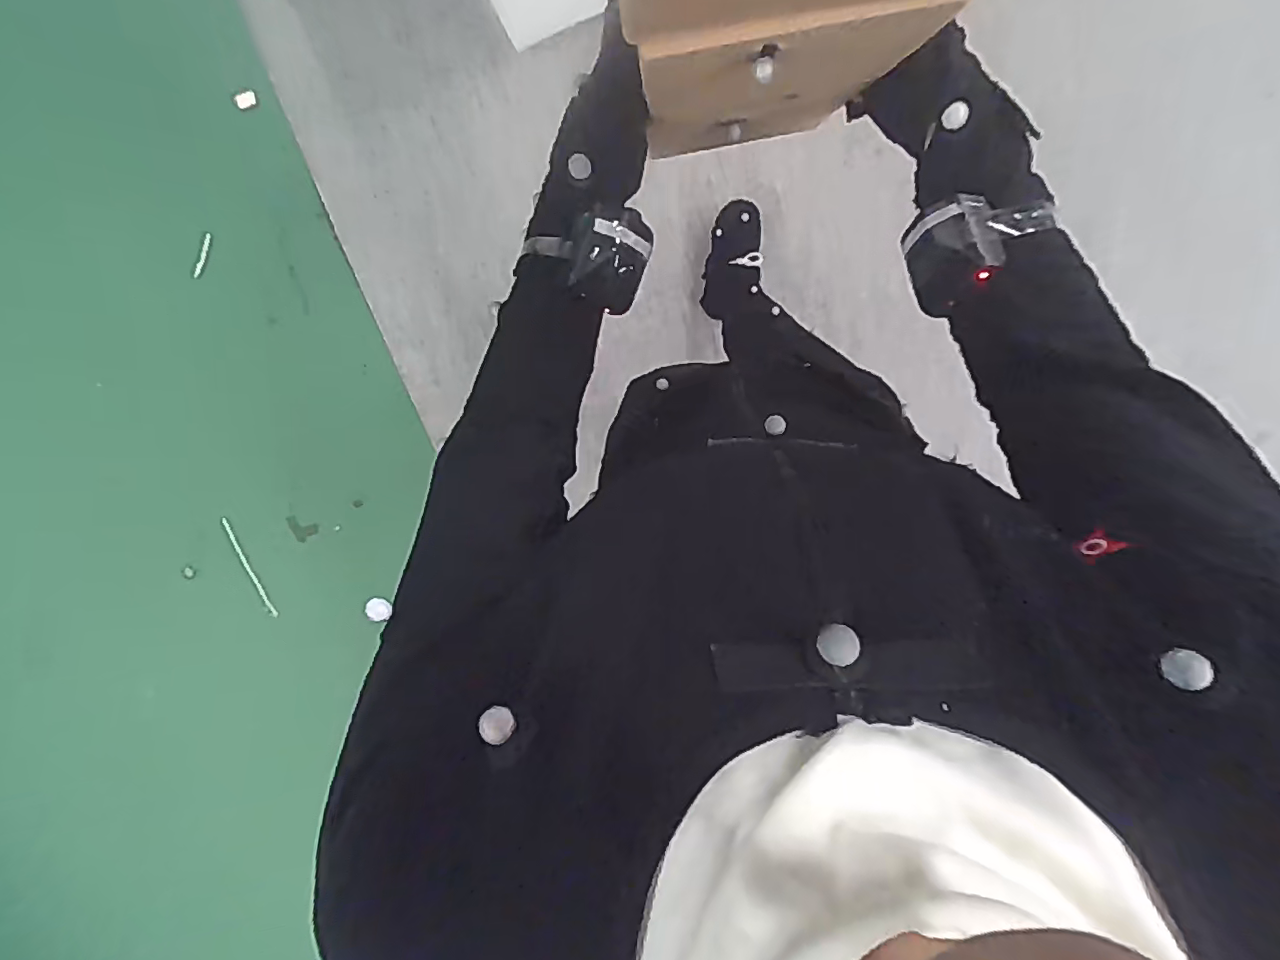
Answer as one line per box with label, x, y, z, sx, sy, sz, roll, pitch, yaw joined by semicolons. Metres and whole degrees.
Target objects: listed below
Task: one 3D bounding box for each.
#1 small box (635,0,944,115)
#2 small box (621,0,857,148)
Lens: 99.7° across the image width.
small box;0.073;-0.346;0.313;0.168;0.176;0.179;-9;113;6
small box;0.076;-0.404;0.464;0.179;0.176;0.168;-7;113;6
